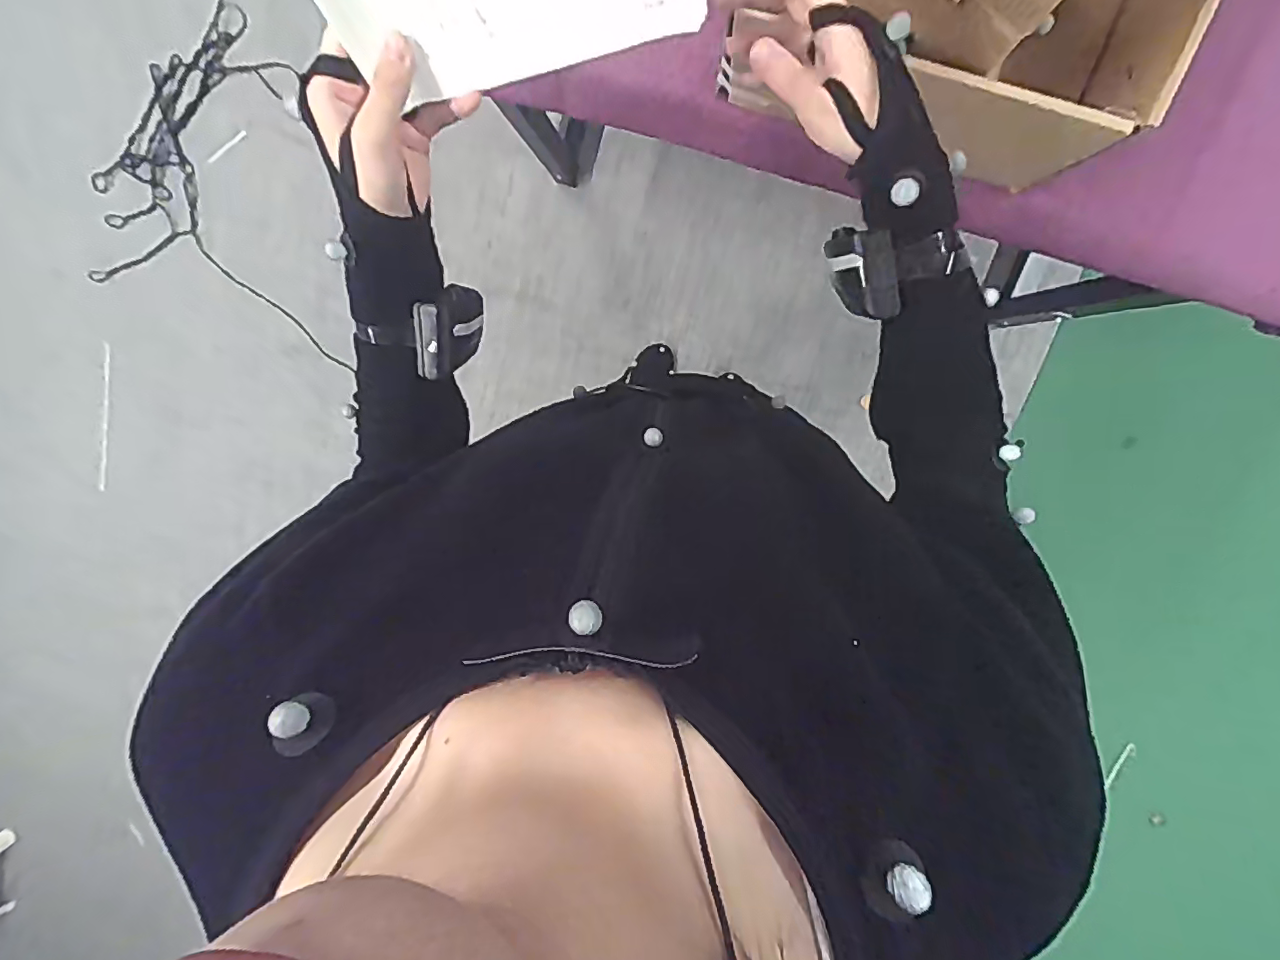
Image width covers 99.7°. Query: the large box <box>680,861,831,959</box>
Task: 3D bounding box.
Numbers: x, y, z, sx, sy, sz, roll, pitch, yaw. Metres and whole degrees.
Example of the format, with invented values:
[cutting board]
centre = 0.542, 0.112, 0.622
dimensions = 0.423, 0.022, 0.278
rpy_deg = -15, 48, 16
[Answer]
[large box]
centre = 0.321, 1.408, 1.608
dimensions = 0.408, 0.320, 0.320
rpy_deg = 4, 102, 5
